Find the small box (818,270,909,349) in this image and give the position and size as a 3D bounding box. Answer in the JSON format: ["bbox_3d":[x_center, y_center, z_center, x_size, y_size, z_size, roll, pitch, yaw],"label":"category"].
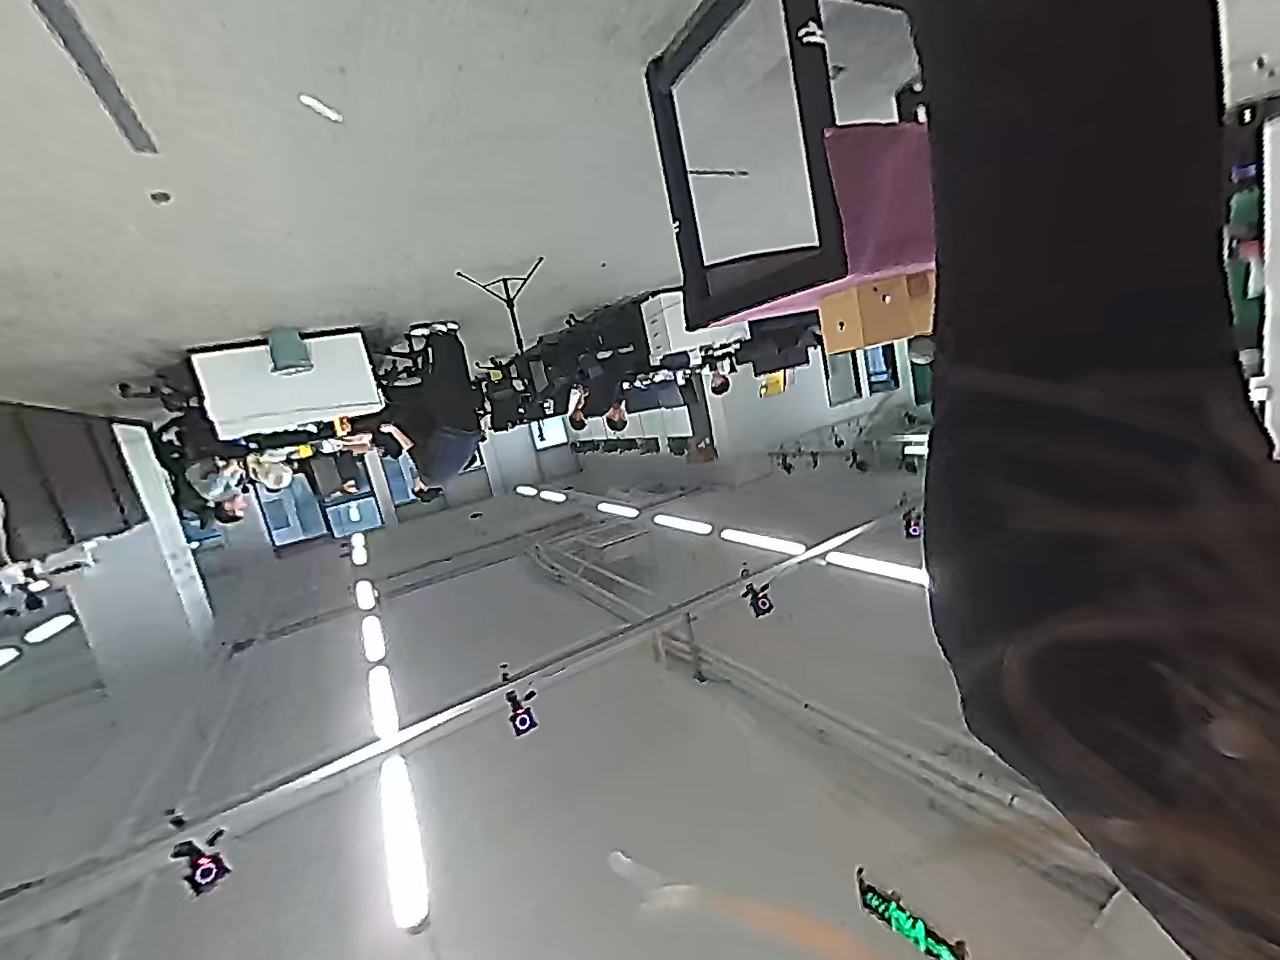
[{"bbox_3d":[0.623,-0.479,1.525,0.168,0.176,0.179,-16,-170,-14],"label":"small box"}]

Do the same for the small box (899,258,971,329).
[{"bbox_3d":[0.858,-0.554,1.627,0.168,0.176,0.179,-17,-169,-17],"label":"small box"}]
